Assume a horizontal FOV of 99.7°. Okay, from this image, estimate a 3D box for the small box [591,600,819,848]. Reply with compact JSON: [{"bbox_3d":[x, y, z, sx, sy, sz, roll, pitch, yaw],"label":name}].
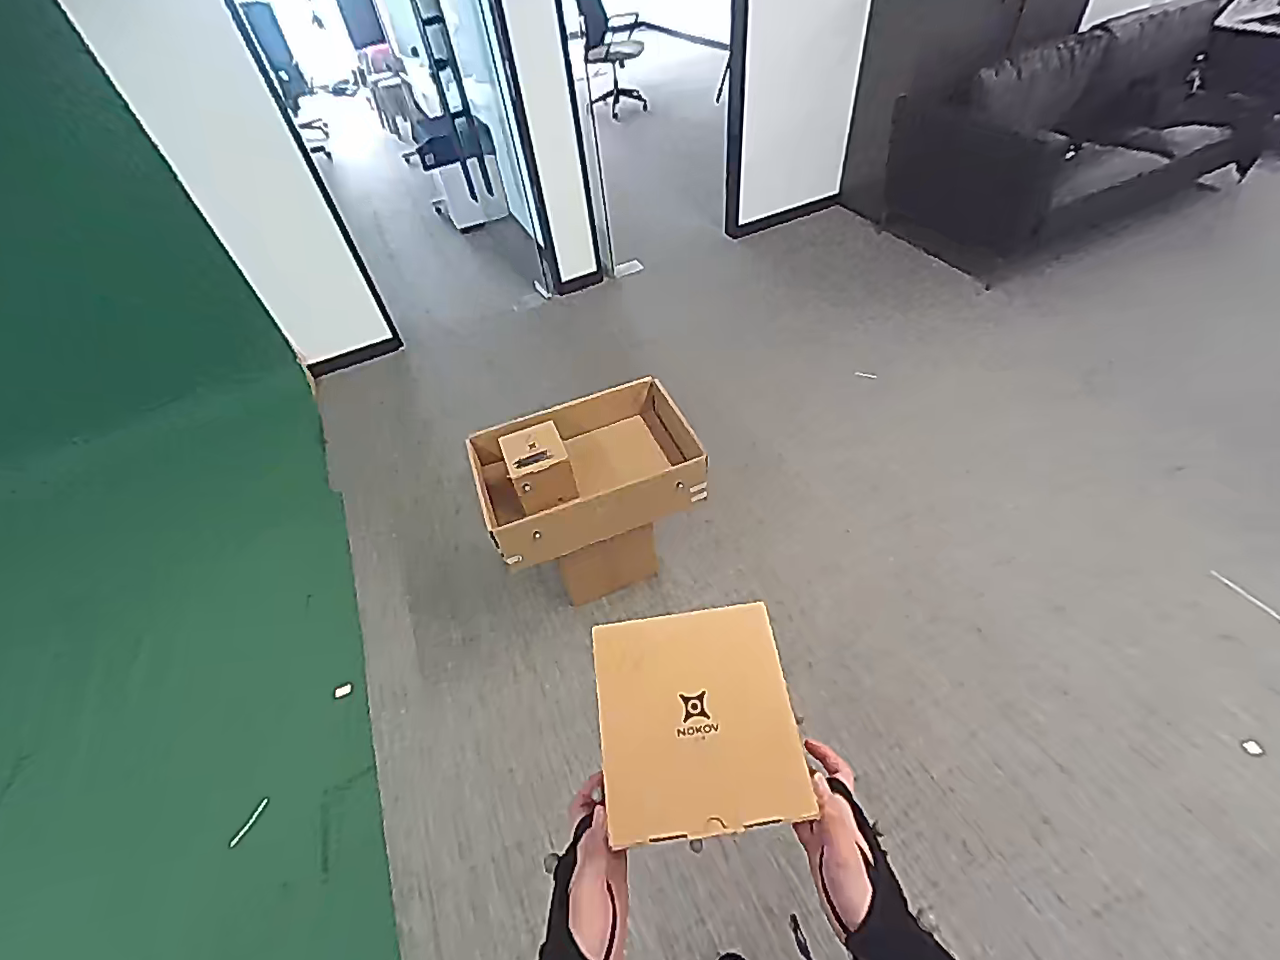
[{"bbox_3d":[0.048,0.235,0.517,0.168,0.176,0.179,-8,58,-2],"label":"small box"}]
